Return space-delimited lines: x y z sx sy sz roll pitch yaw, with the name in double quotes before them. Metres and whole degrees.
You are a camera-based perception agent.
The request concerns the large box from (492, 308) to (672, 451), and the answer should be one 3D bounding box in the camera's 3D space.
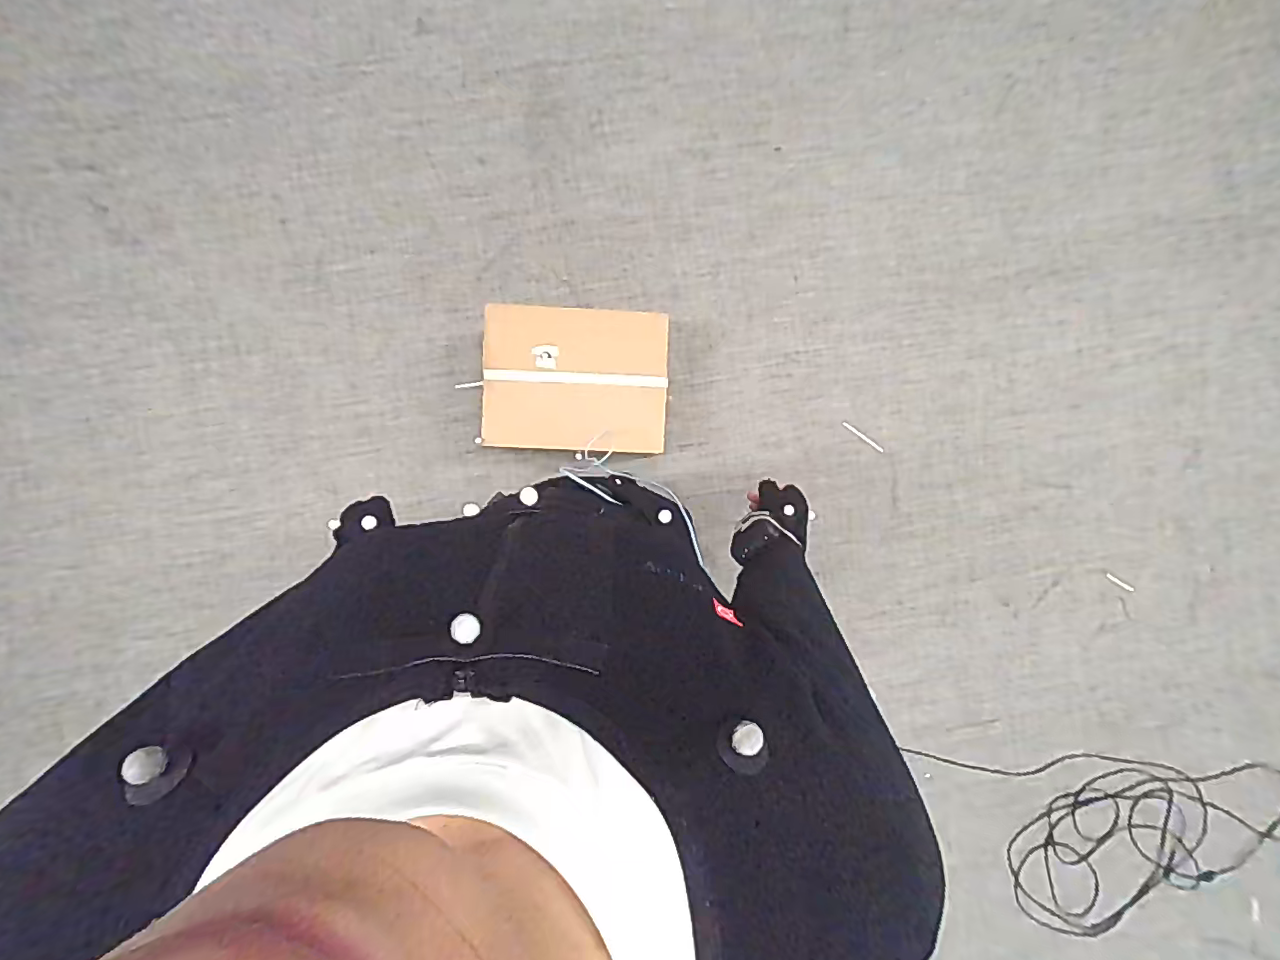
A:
"large box" -0.131 -0.231 1.355 0.408 0.320 0.320 2 91 -2
